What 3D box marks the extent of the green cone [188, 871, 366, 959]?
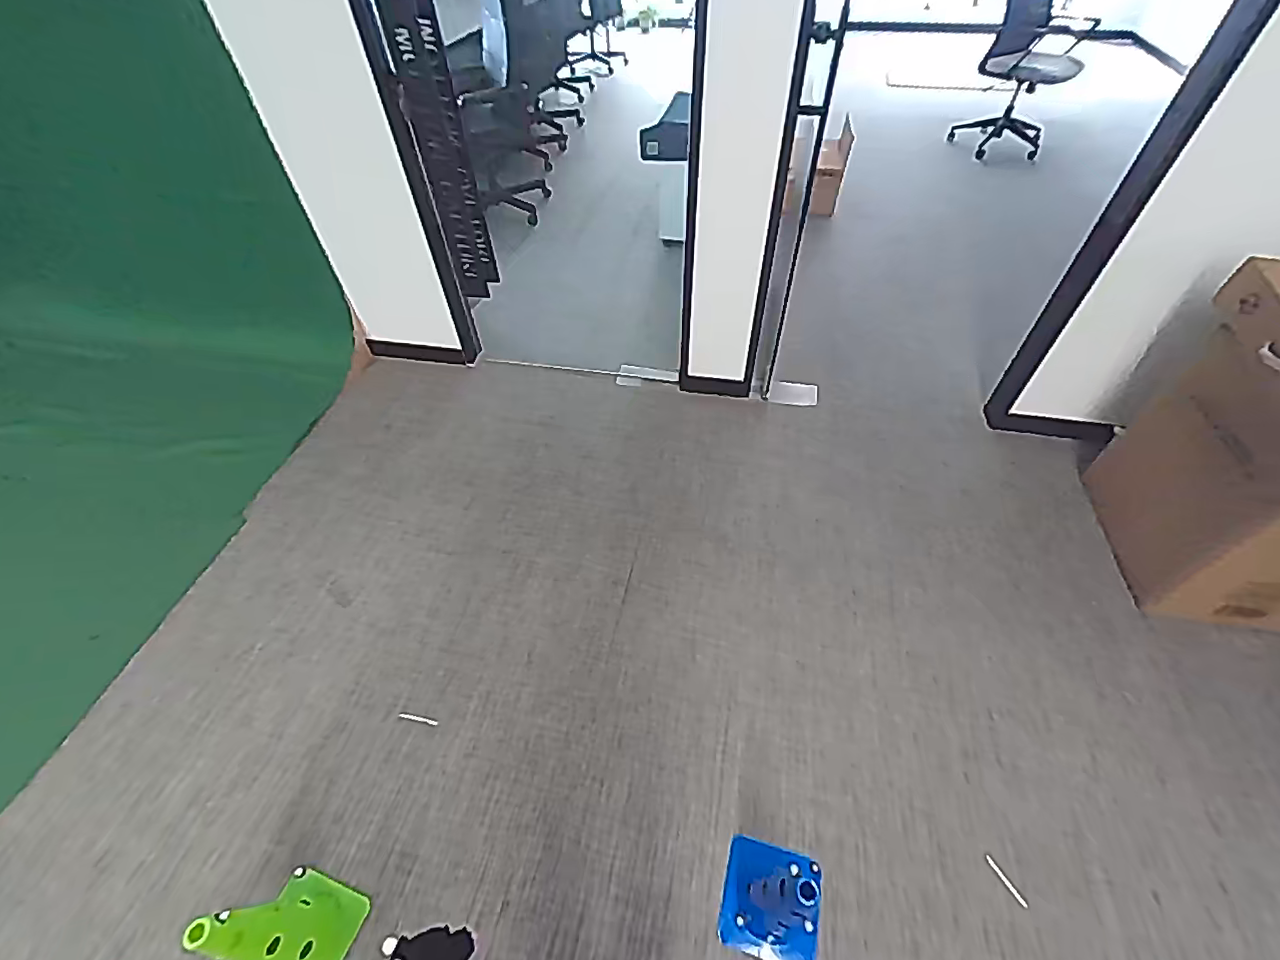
[{"bbox_3d":[-0.703,0.841,0.990,0.202,0.368,0.200,14,50,13],"label":"green cone"}]
